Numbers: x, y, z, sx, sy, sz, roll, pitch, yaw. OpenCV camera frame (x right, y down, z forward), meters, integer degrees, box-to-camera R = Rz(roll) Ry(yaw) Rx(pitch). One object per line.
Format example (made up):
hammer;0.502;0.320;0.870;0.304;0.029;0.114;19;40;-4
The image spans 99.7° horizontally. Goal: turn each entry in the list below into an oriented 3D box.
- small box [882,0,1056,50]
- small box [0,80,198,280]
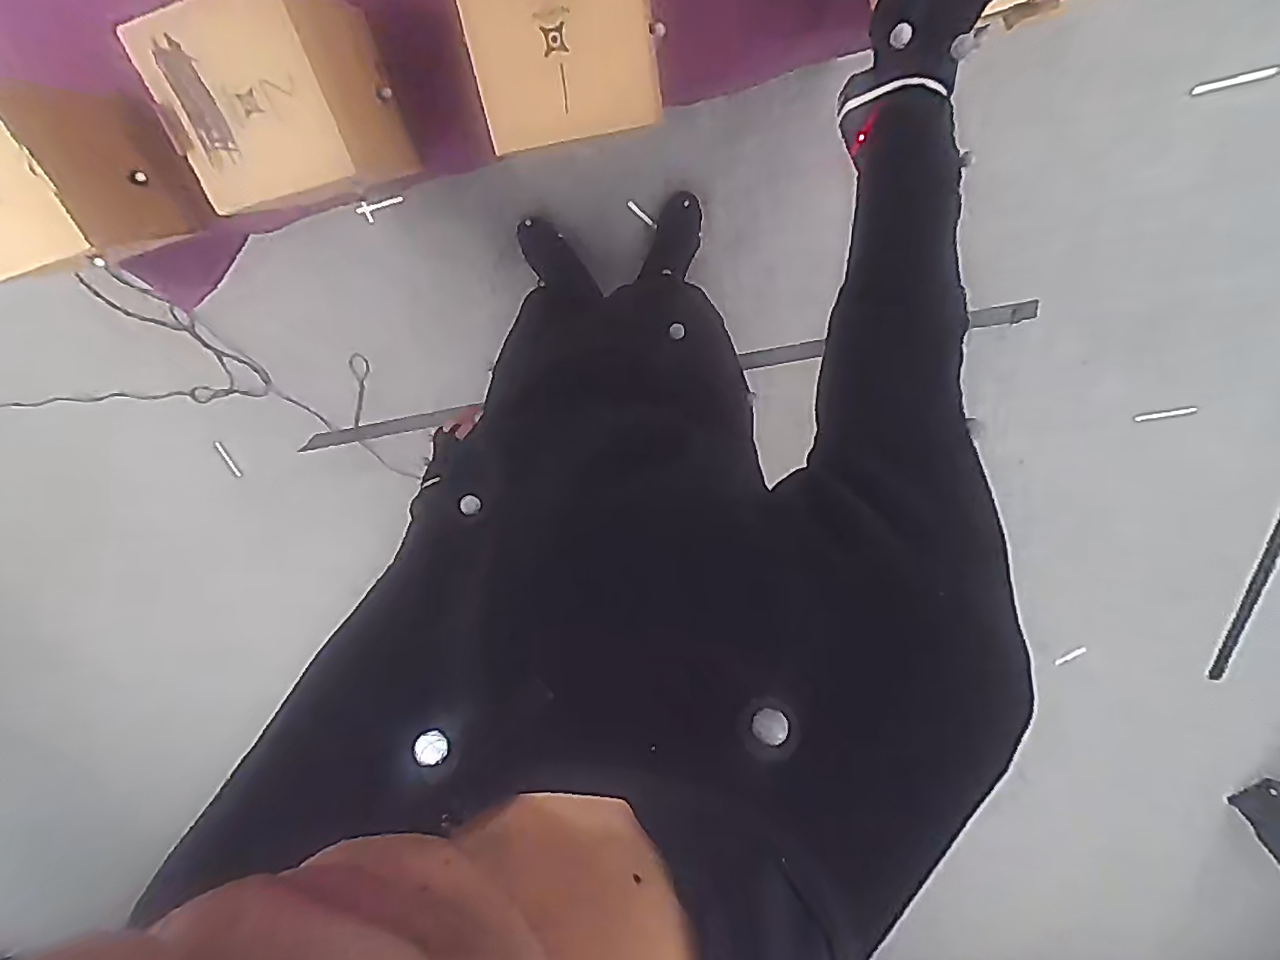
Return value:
small box;0.317;-0.515;0.471;0.168;0.176;0.179;-9;120;12
small box;-0.717;-0.360;0.665;0.179;0.176;0.168;-12;120;10
